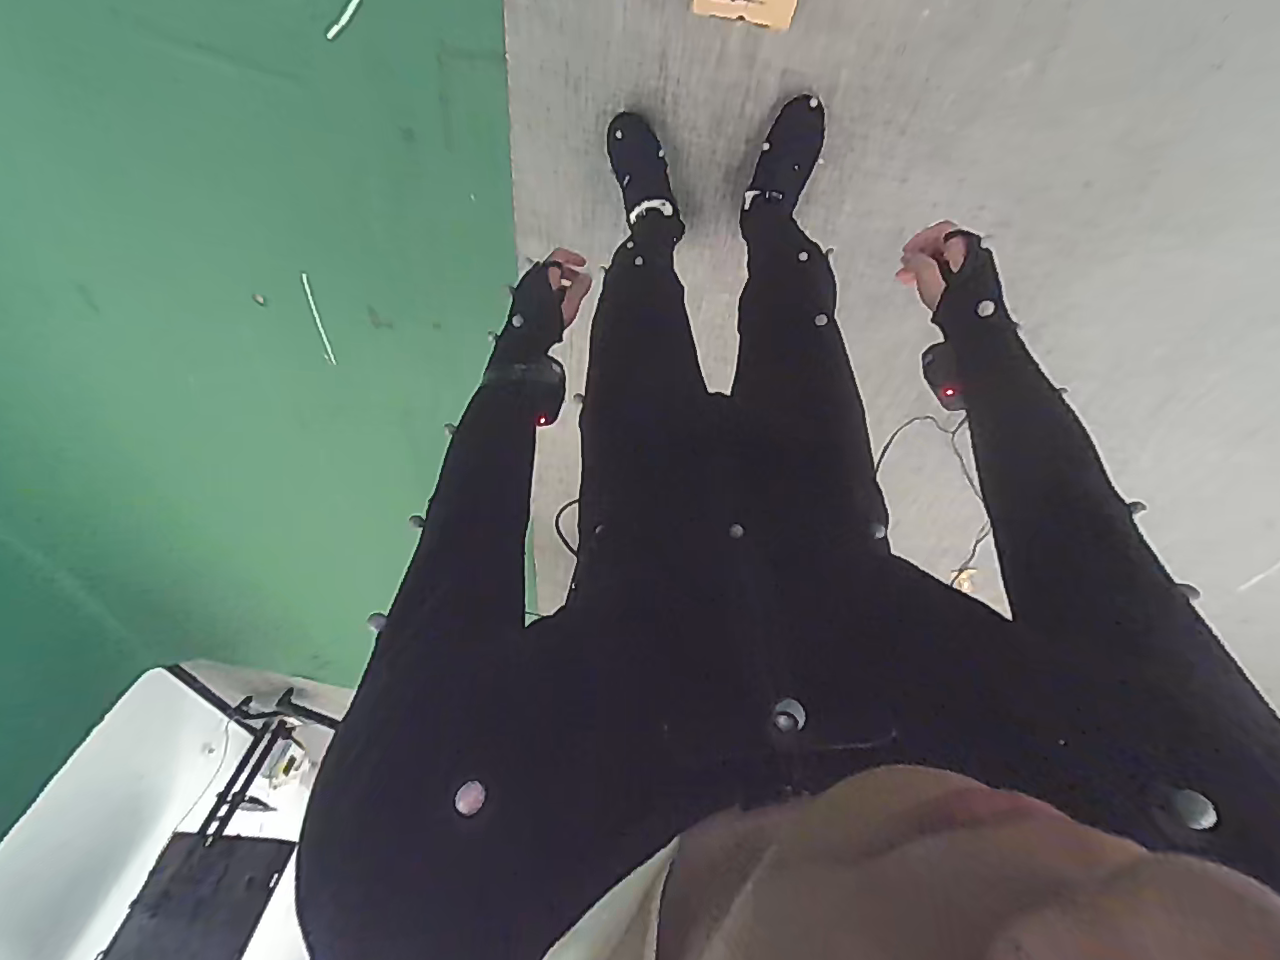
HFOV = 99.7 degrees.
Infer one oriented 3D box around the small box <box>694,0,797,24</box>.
[{"bbox_3d":[0.191,-0.868,0.866,0.168,0.176,0.179,12,136,1],"label":"small box"}]
